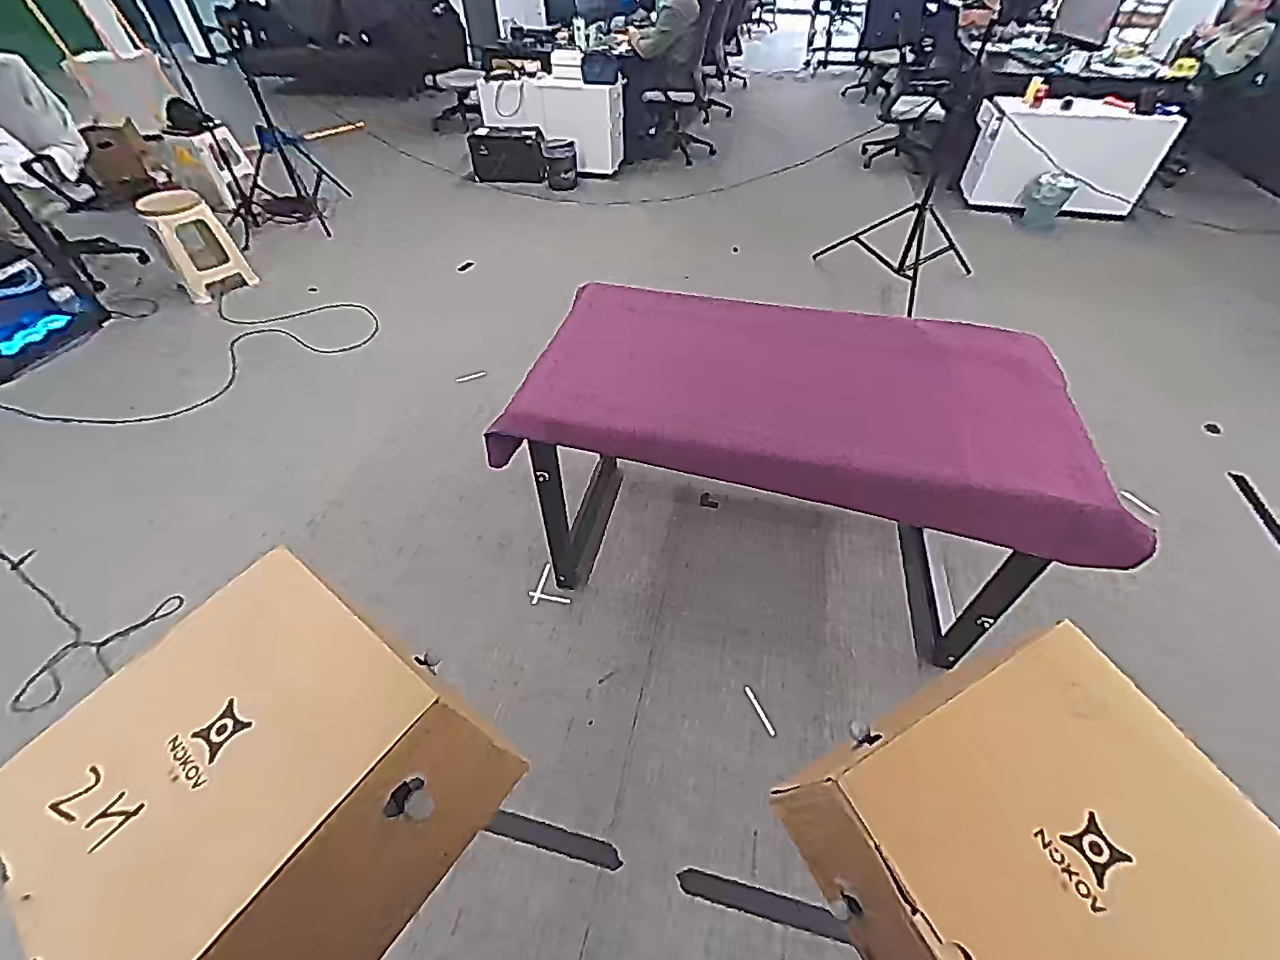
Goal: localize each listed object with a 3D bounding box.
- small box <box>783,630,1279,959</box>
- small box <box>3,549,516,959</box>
[{"bbox_3d":[0.214,0.222,0.328,0.179,0.176,0.168,-26,61,-14],"label":"small box"},{"bbox_3d":[-0.200,0.183,0.338,0.168,0.176,0.179,28,61,27],"label":"small box"}]
